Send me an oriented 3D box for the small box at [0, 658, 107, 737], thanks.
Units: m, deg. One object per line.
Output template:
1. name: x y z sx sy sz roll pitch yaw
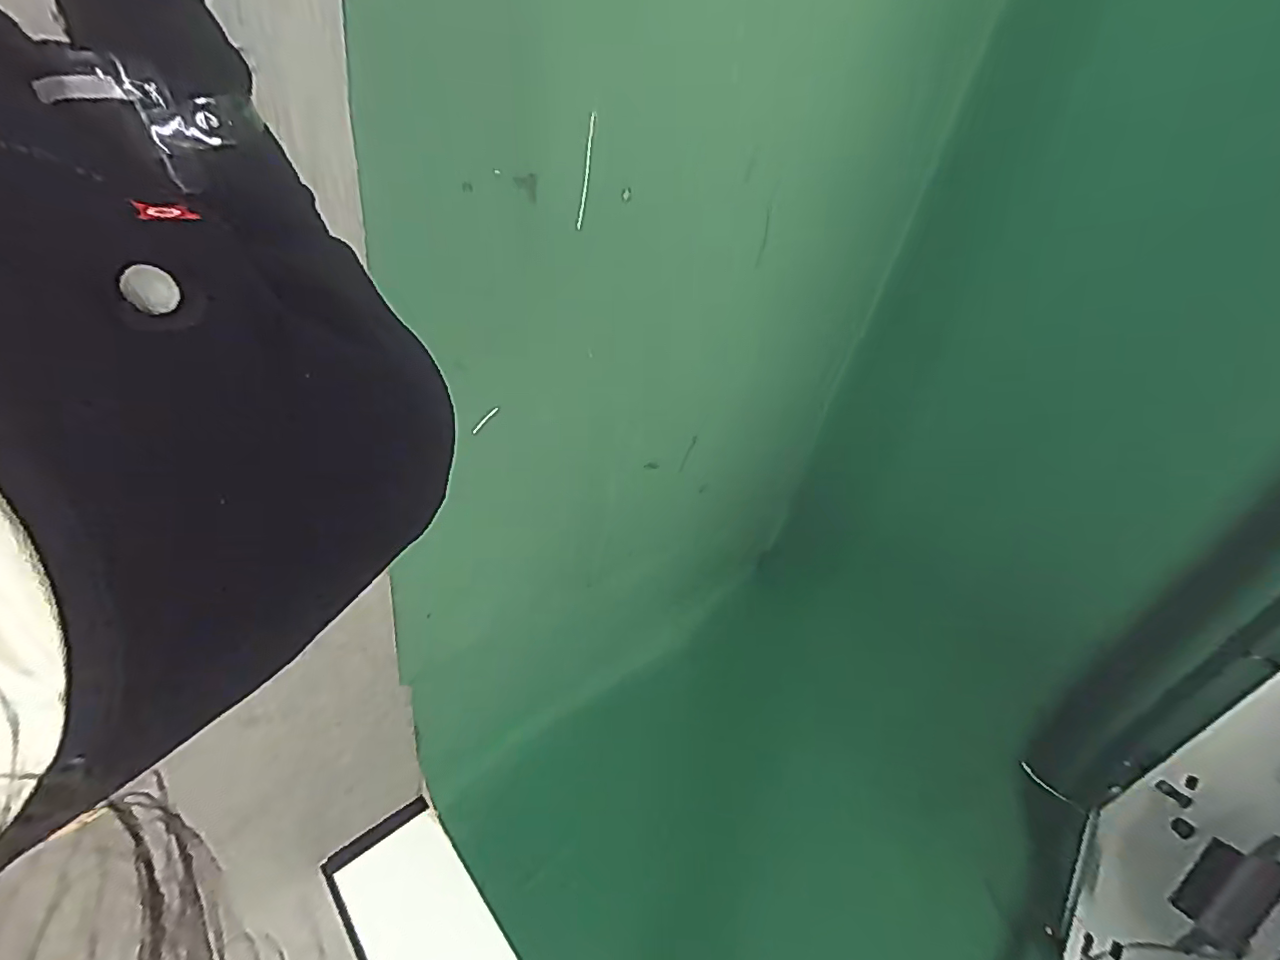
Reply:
1. small box: -1.422 0.564 1.277 0.179 0.176 0.168 -28 140 -33

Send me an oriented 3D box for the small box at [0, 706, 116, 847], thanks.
1. small box: -1.310 0.643 1.189 0.179 0.176 0.168 -24 138 -37
